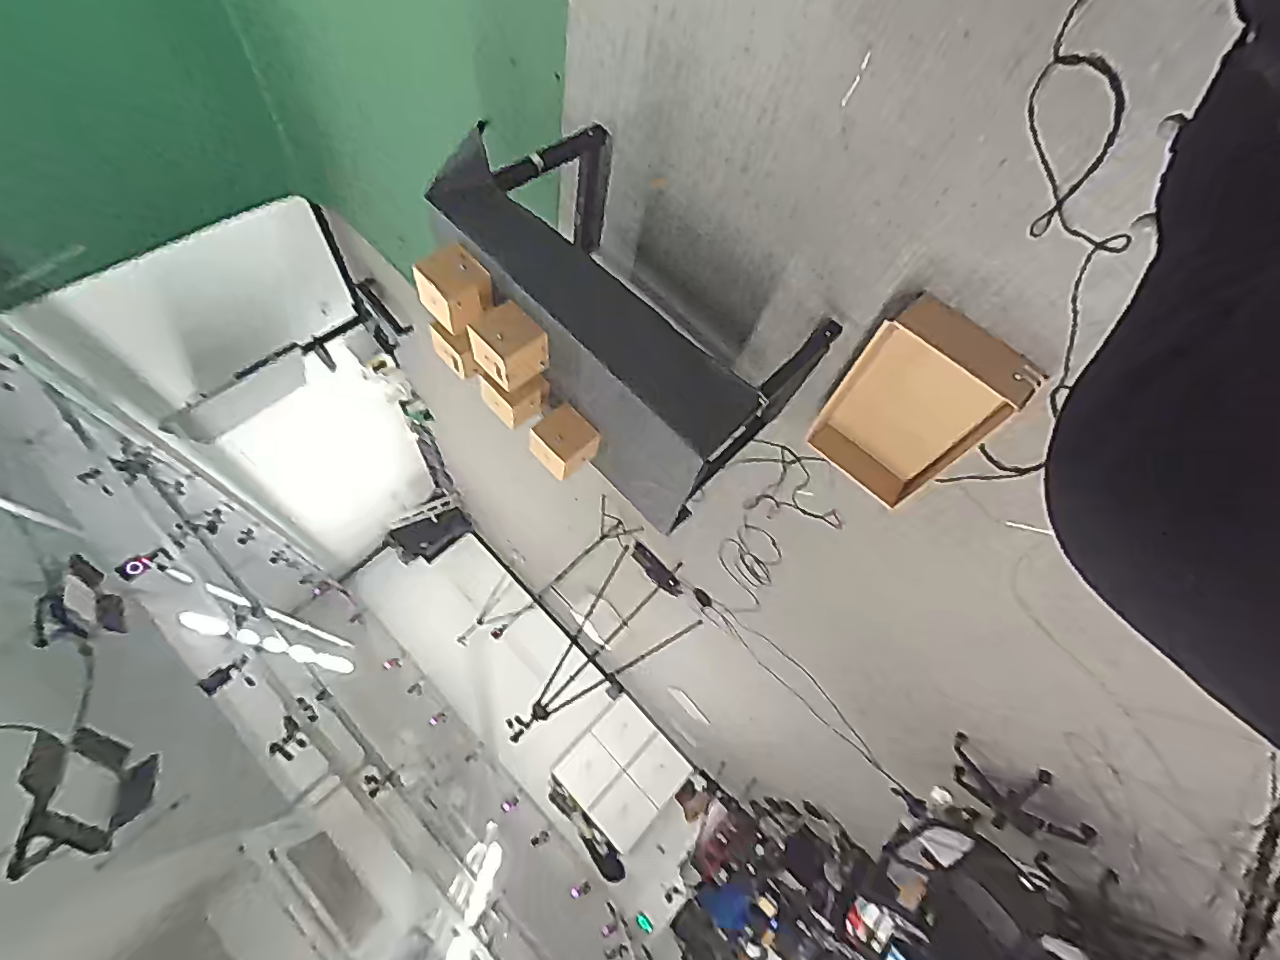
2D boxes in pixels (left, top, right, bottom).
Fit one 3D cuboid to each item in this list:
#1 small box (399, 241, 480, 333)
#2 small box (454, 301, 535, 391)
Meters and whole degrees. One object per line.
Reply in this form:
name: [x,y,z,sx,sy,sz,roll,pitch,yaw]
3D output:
small box: [-0.621,-0.607,1.697,0.168,0.176,0.179,45,155,6]
small box: [-0.440,-0.419,1.672,0.179,0.176,0.168,43,155,12]
